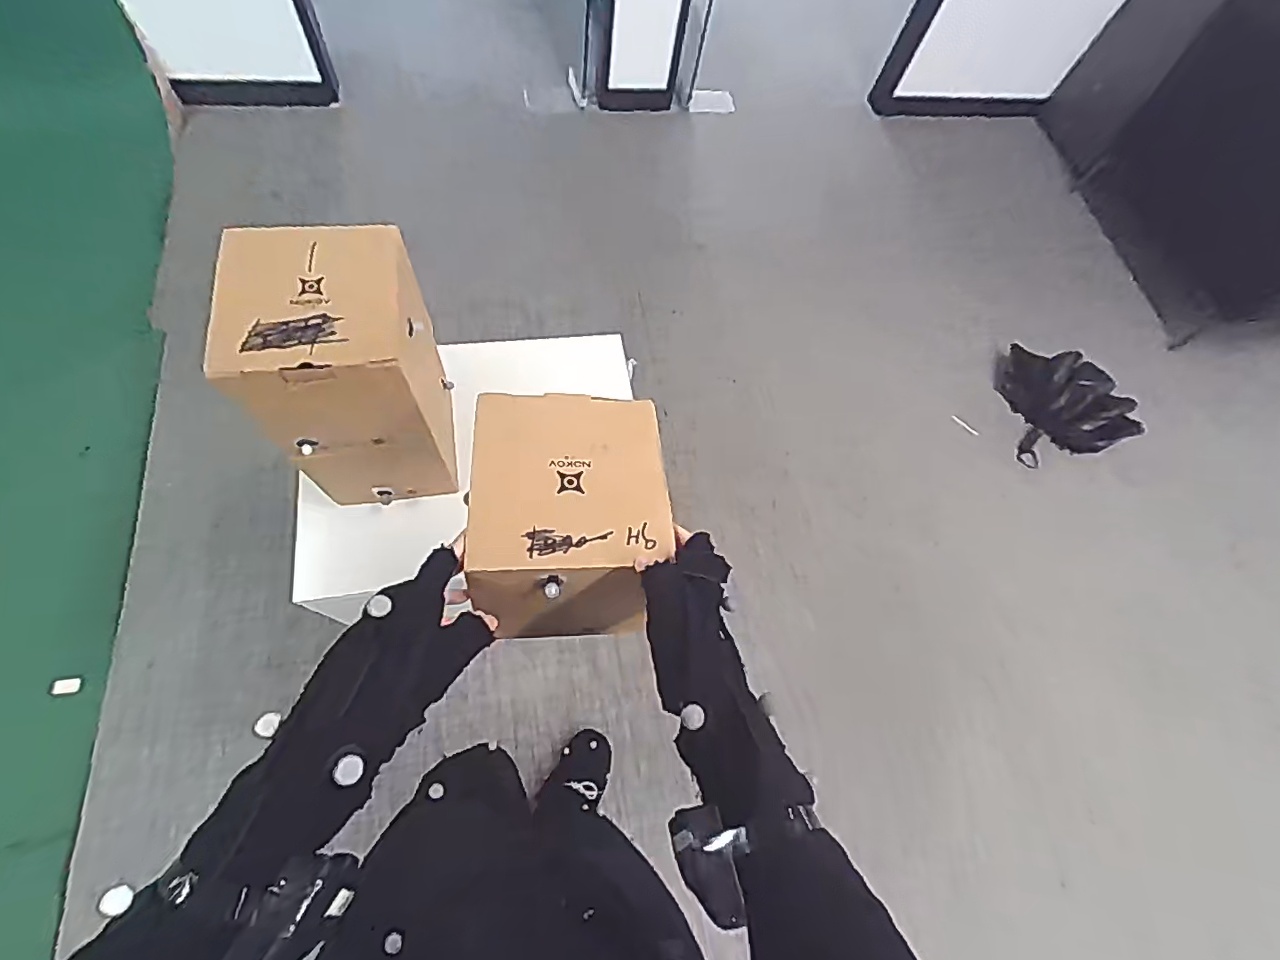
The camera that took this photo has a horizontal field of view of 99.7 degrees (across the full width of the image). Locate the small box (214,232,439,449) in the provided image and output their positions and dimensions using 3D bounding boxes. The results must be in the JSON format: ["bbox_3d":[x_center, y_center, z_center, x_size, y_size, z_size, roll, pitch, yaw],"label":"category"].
[{"bbox_3d":[-0.326,-0.144,0.602,0.168,0.176,0.179,-6,67,-11],"label":"small box"}]

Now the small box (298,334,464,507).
[{"bbox_3d":[-0.347,-0.079,0.751,0.168,0.176,0.179,-8,70,-11],"label":"small box"}]

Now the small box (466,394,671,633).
[{"bbox_3d":[-0.075,0.038,0.538,0.168,0.176,0.179,1,56,-11],"label":"small box"}]
